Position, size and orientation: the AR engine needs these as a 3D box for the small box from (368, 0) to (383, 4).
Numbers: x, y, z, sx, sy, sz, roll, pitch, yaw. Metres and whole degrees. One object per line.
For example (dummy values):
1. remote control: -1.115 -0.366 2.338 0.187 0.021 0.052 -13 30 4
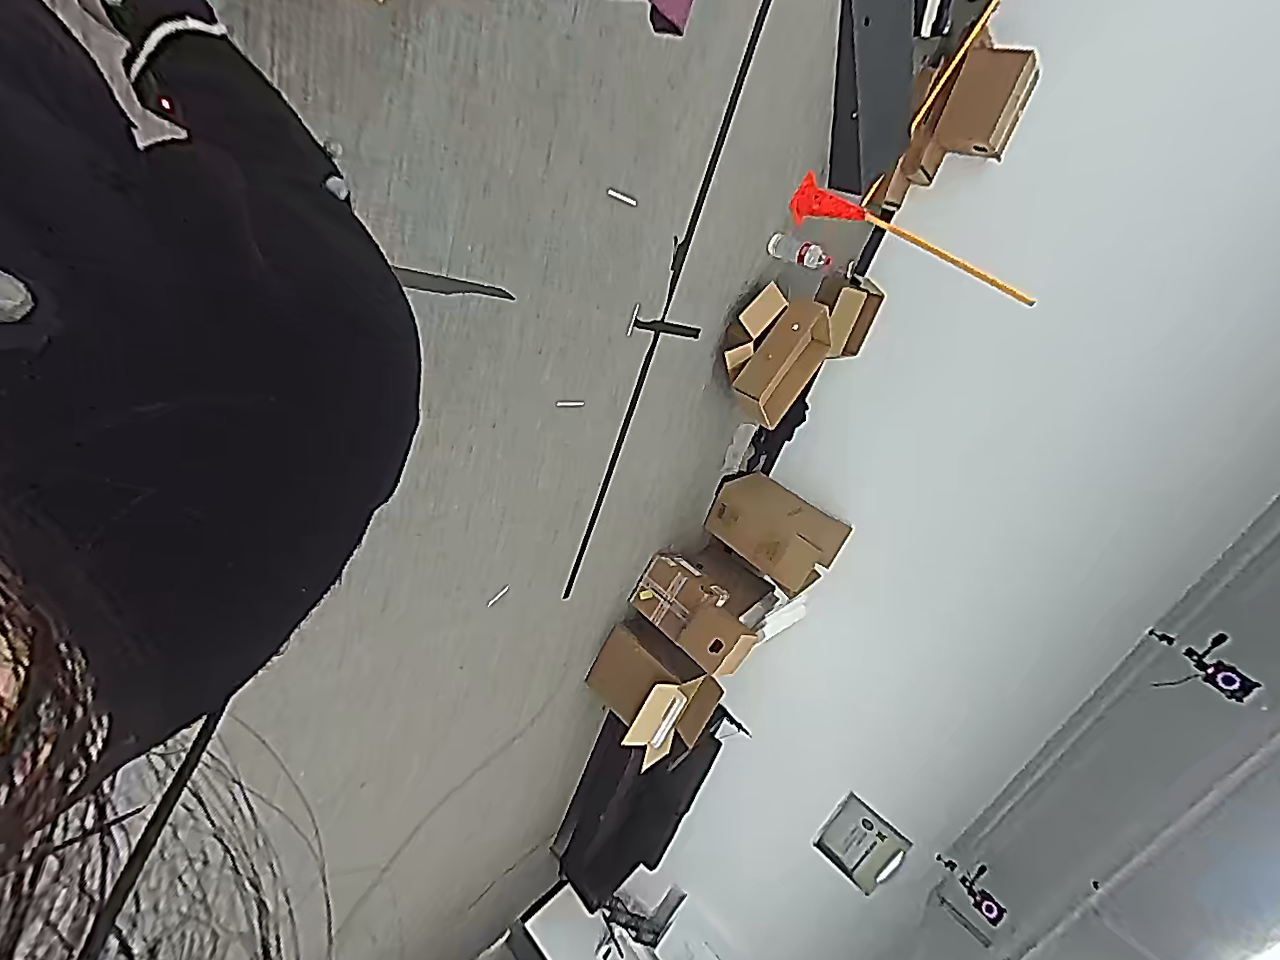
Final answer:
1. small box: -0.557 -1.035 0.992 0.179 0.176 0.168 15 108 -58
